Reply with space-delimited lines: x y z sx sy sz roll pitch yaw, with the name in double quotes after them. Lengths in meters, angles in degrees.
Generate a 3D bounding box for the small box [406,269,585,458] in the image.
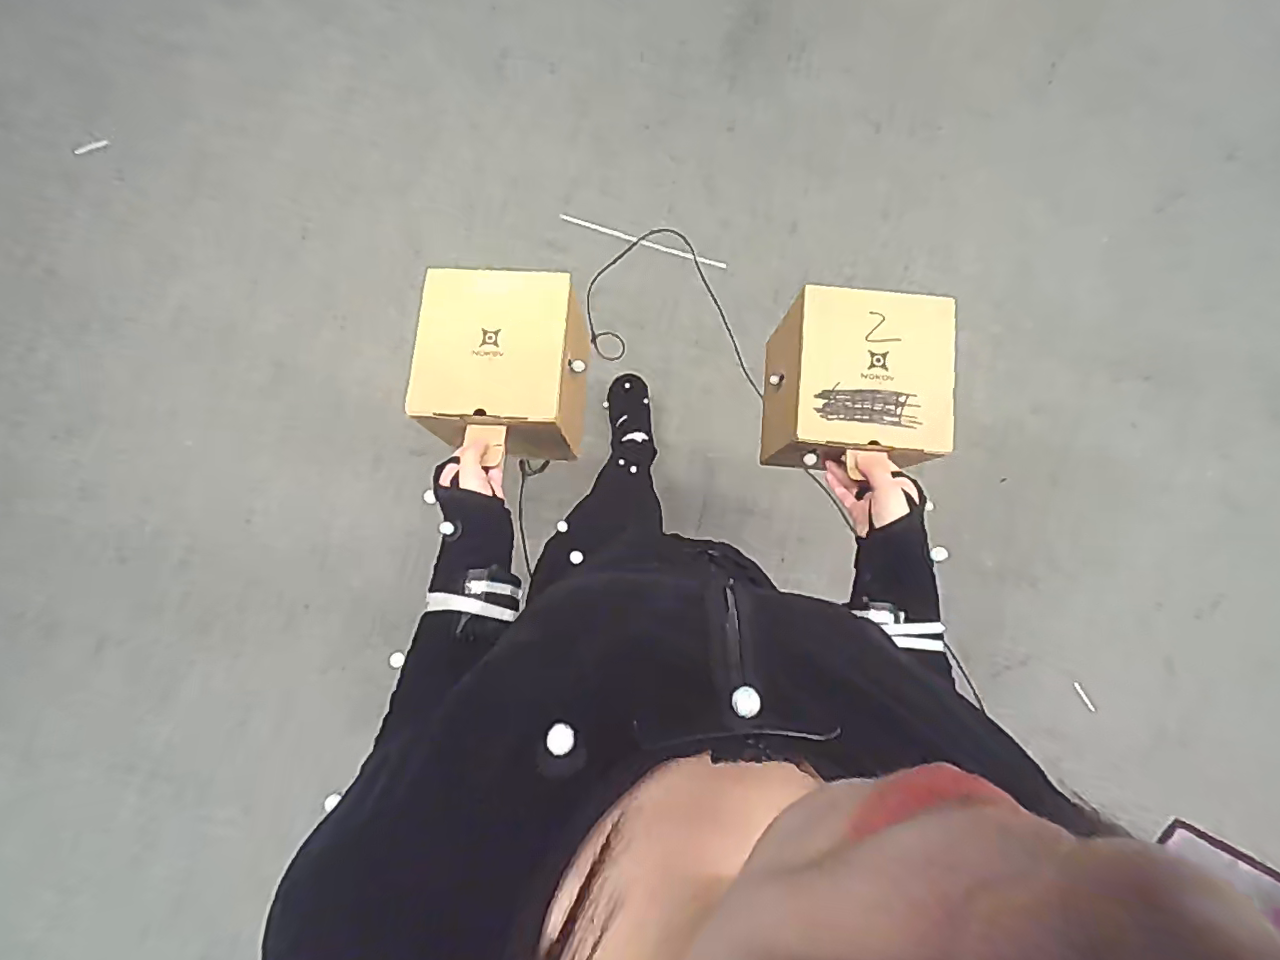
-0.165 -0.136 0.676 0.168 0.176 0.179 3 78 3 "small box"
